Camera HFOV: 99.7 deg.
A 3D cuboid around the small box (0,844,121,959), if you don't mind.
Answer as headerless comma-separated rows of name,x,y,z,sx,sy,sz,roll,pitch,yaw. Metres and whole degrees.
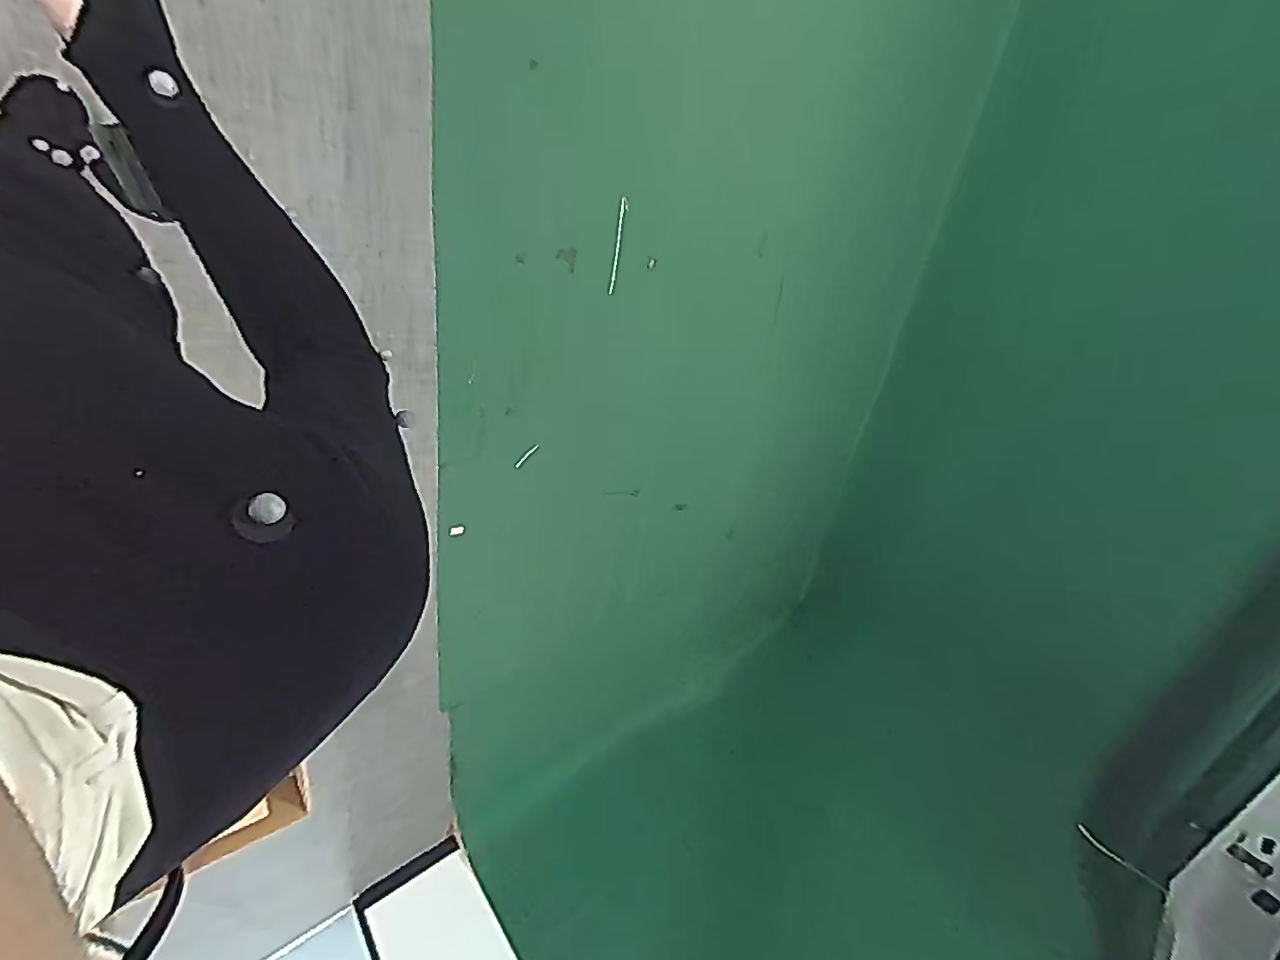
small box,-1.059,0.803,0.959,0.179,0.176,0.168,-11,121,-40
